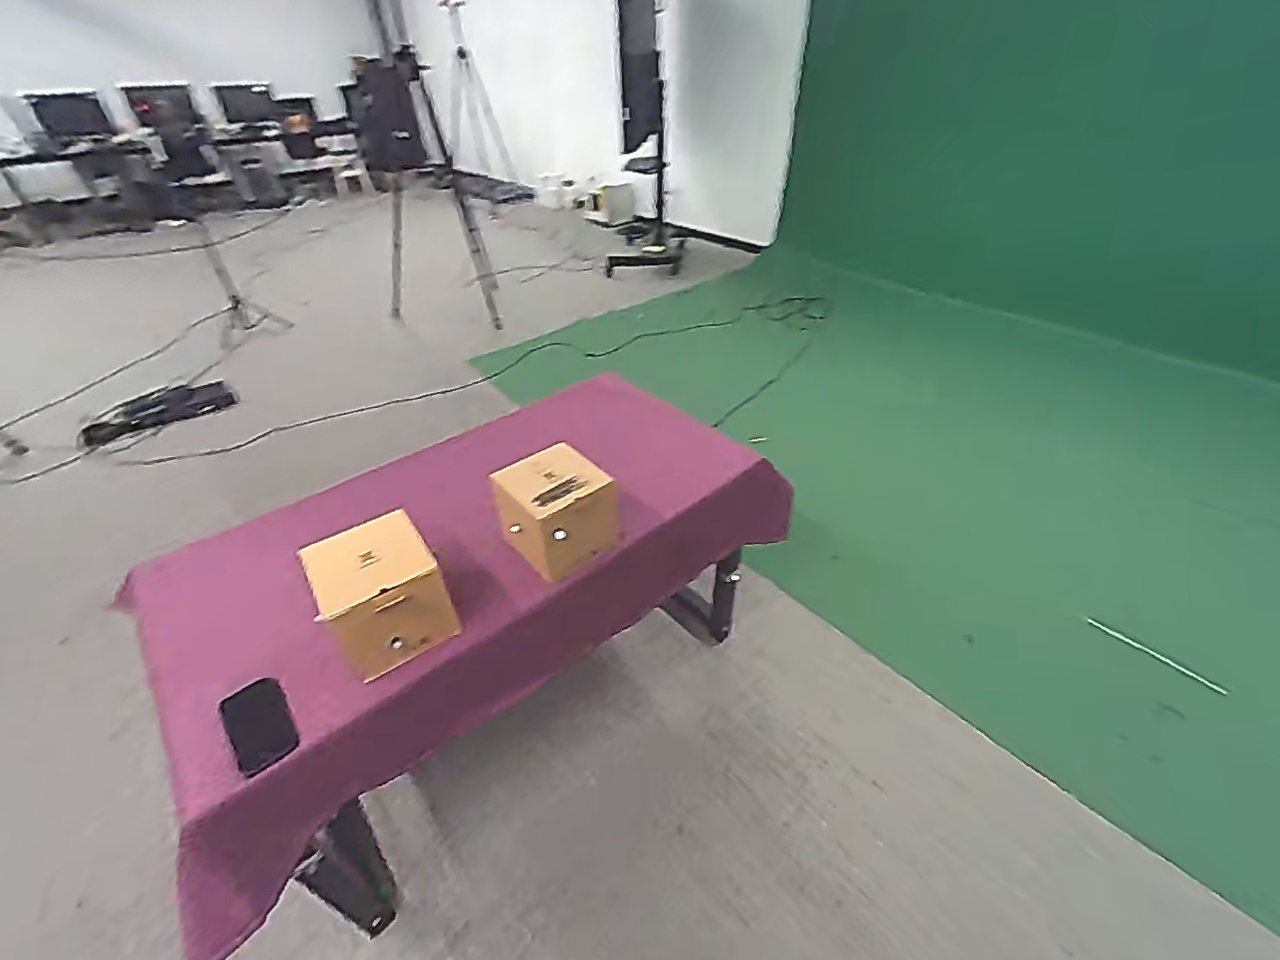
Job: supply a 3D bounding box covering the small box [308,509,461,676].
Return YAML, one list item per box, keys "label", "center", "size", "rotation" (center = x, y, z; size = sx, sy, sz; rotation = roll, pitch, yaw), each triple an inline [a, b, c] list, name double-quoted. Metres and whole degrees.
- label: "small box"
  center: [-0.420, 0.185, 0.901]
  size: [0.168, 0.176, 0.179]
  rotation: [-25, 45, -28]
